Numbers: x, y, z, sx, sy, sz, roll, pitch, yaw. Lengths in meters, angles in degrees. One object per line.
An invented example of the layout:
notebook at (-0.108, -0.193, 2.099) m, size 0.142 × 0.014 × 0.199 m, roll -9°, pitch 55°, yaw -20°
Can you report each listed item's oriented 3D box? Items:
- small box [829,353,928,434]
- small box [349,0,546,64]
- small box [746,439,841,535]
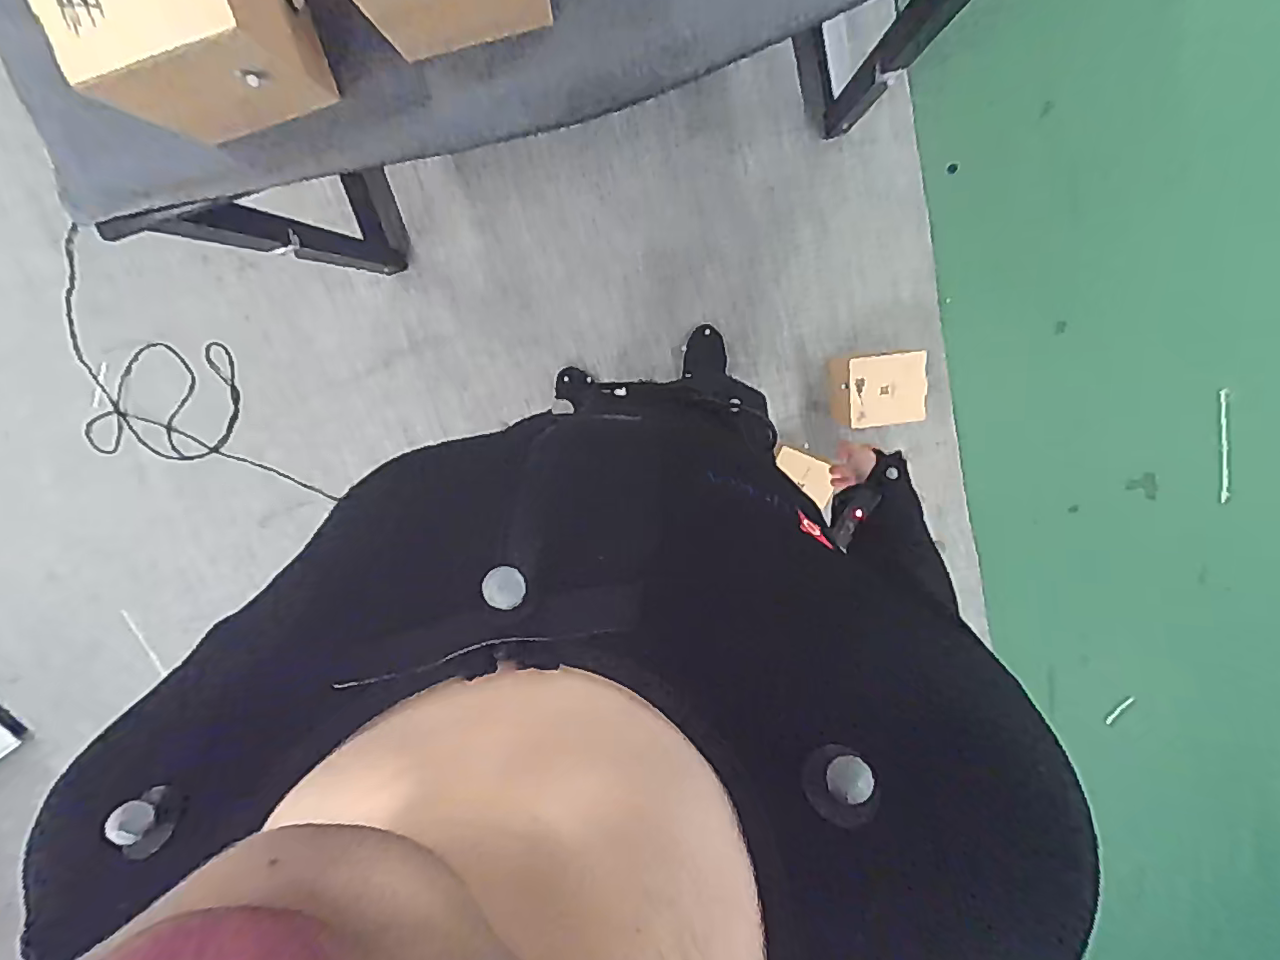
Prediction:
small box at (0.579, -0.218, 1.333) m, size 0.179 × 0.176 × 0.168 m, roll -6°, pitch 106°, yaw 4°
small box at (-0.198, -0.546, 0.518) m, size 0.179 × 0.176 × 0.168 m, roll -9°, pitch 103°, yaw 6°
small box at (0.388, 0.013, 1.406) m, size 0.168 × 0.176 × 0.179 m, roll 22°, pitch 105°, yaw -4°
